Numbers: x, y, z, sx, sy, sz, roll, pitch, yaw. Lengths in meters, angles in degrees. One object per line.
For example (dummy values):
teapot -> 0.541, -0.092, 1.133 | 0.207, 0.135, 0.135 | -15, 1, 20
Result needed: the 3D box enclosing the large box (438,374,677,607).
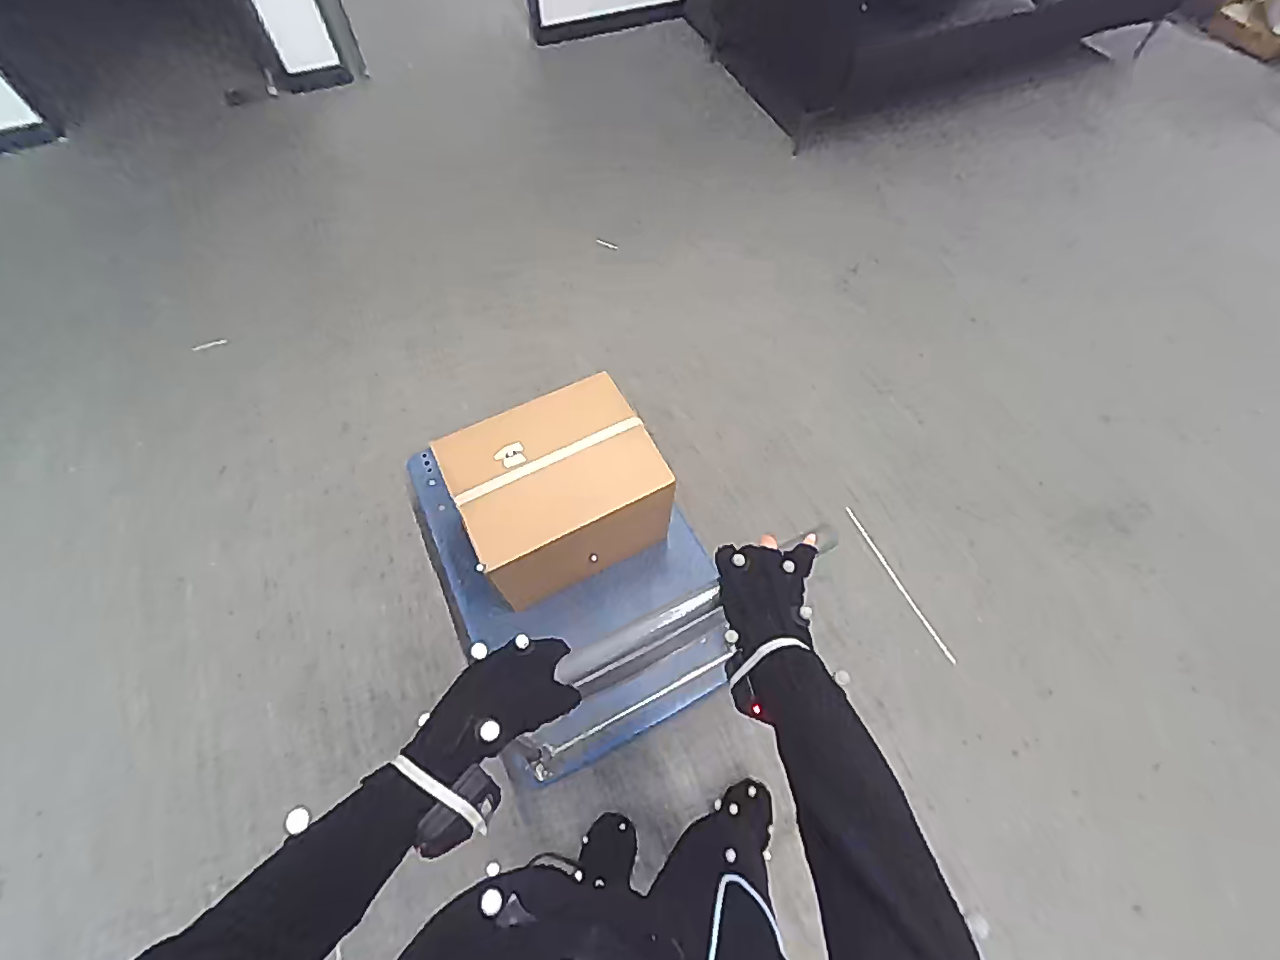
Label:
large box -> -0.170, 0.033, 1.225 | 0.408, 0.320, 0.320 | -26, 66, -13
